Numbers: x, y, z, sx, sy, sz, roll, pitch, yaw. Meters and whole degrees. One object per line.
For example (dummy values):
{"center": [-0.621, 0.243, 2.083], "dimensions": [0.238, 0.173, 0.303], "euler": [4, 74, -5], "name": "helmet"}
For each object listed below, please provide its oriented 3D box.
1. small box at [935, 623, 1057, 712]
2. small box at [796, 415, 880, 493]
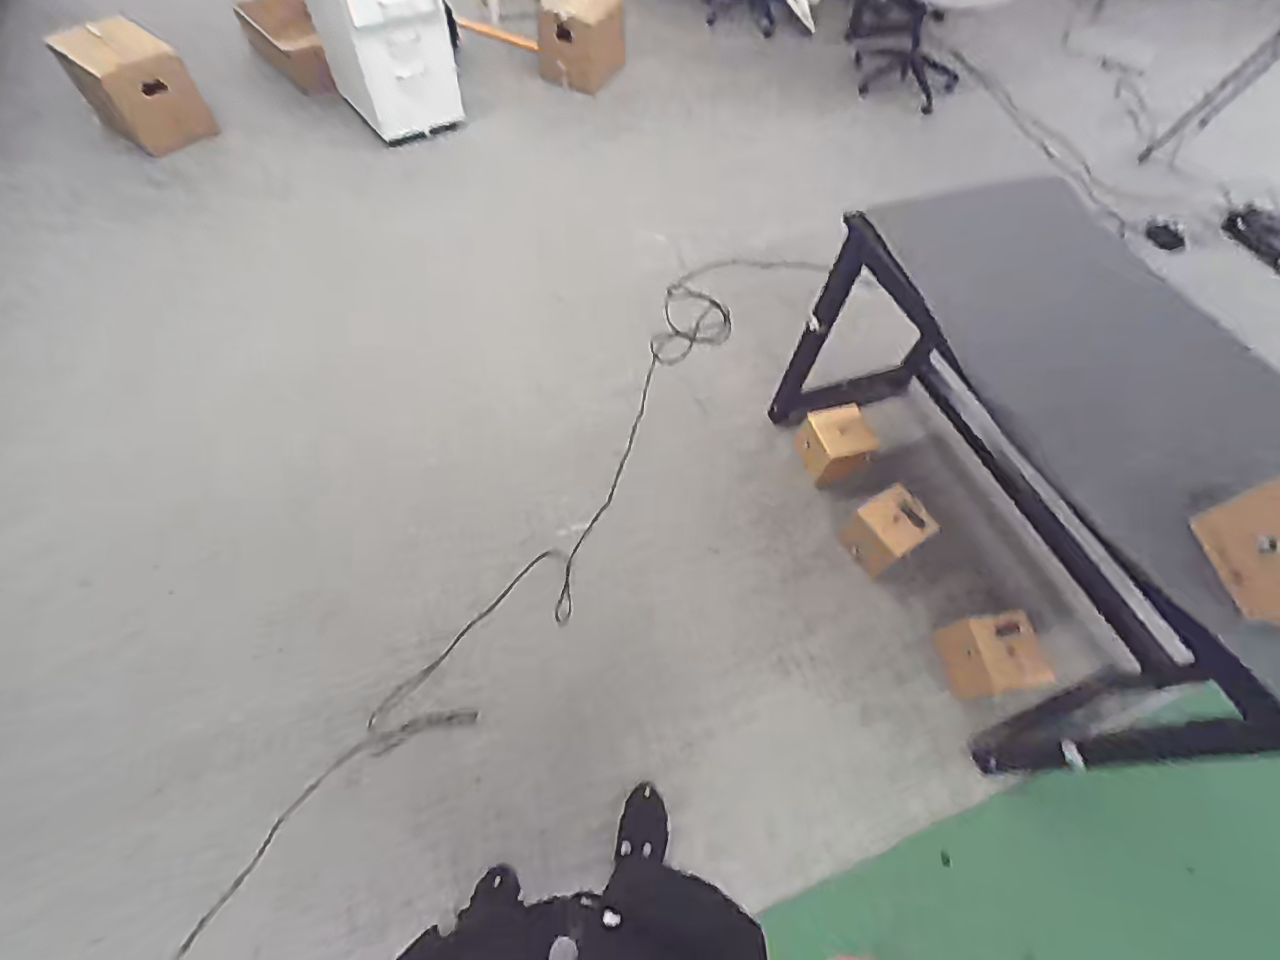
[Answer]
{"center": [0.899, 0.484, 1.389], "dimensions": [0.168, 0.176, 0.179], "euler": [-4, 61, -7], "name": "small box"}
{"center": [0.612, -0.078, 1.708], "dimensions": [0.179, 0.176, 0.168], "euler": [-11, 60, -12], "name": "small box"}
